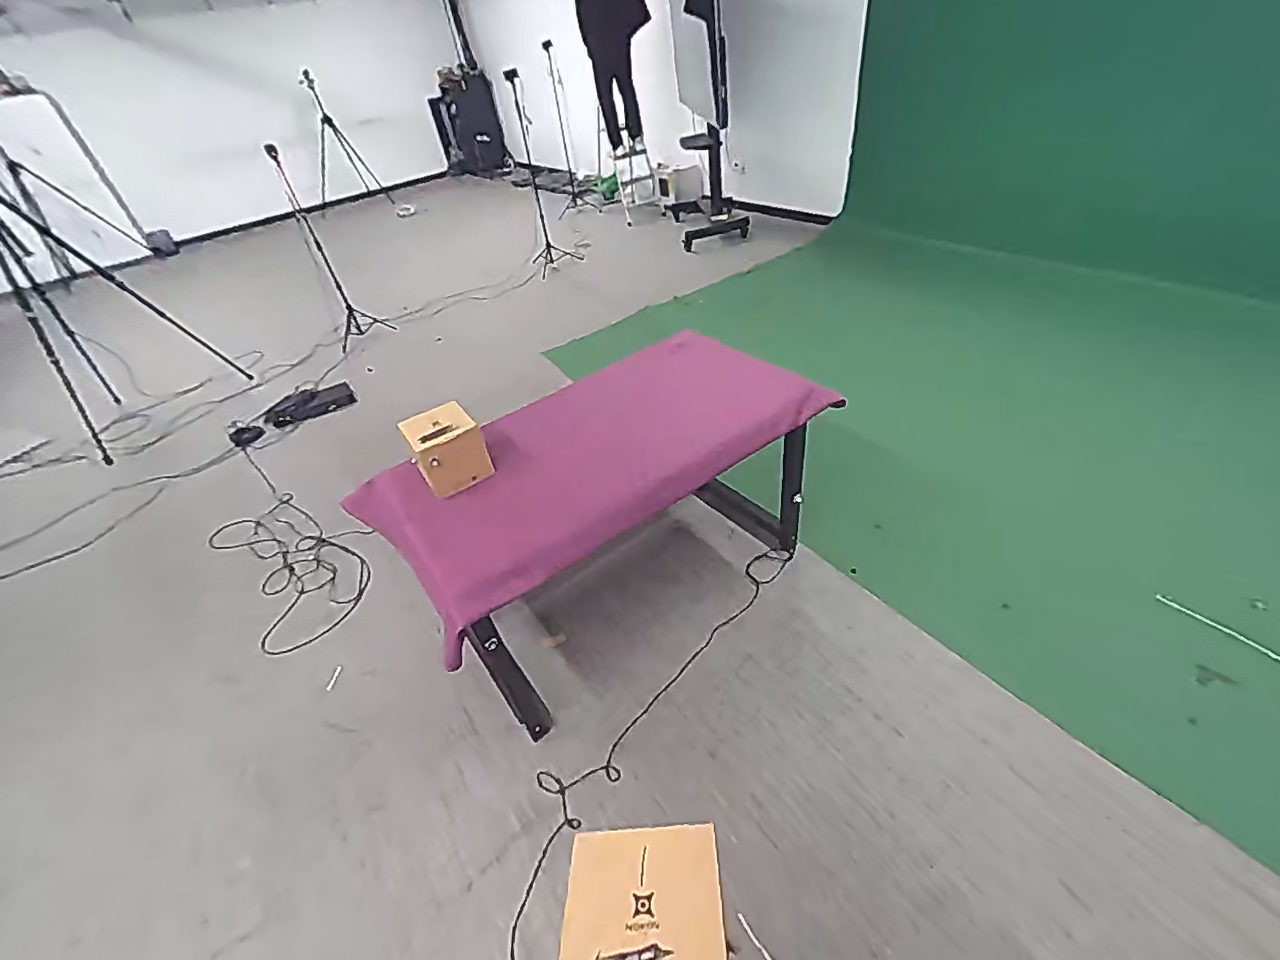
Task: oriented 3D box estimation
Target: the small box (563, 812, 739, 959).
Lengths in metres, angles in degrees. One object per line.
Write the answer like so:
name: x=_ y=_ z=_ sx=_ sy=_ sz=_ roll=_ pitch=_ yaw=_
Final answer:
small box: x=0.020 y=0.502 z=0.587 sx=0.168 sy=0.176 sz=0.179 roll=-7 pitch=26 yaw=5
